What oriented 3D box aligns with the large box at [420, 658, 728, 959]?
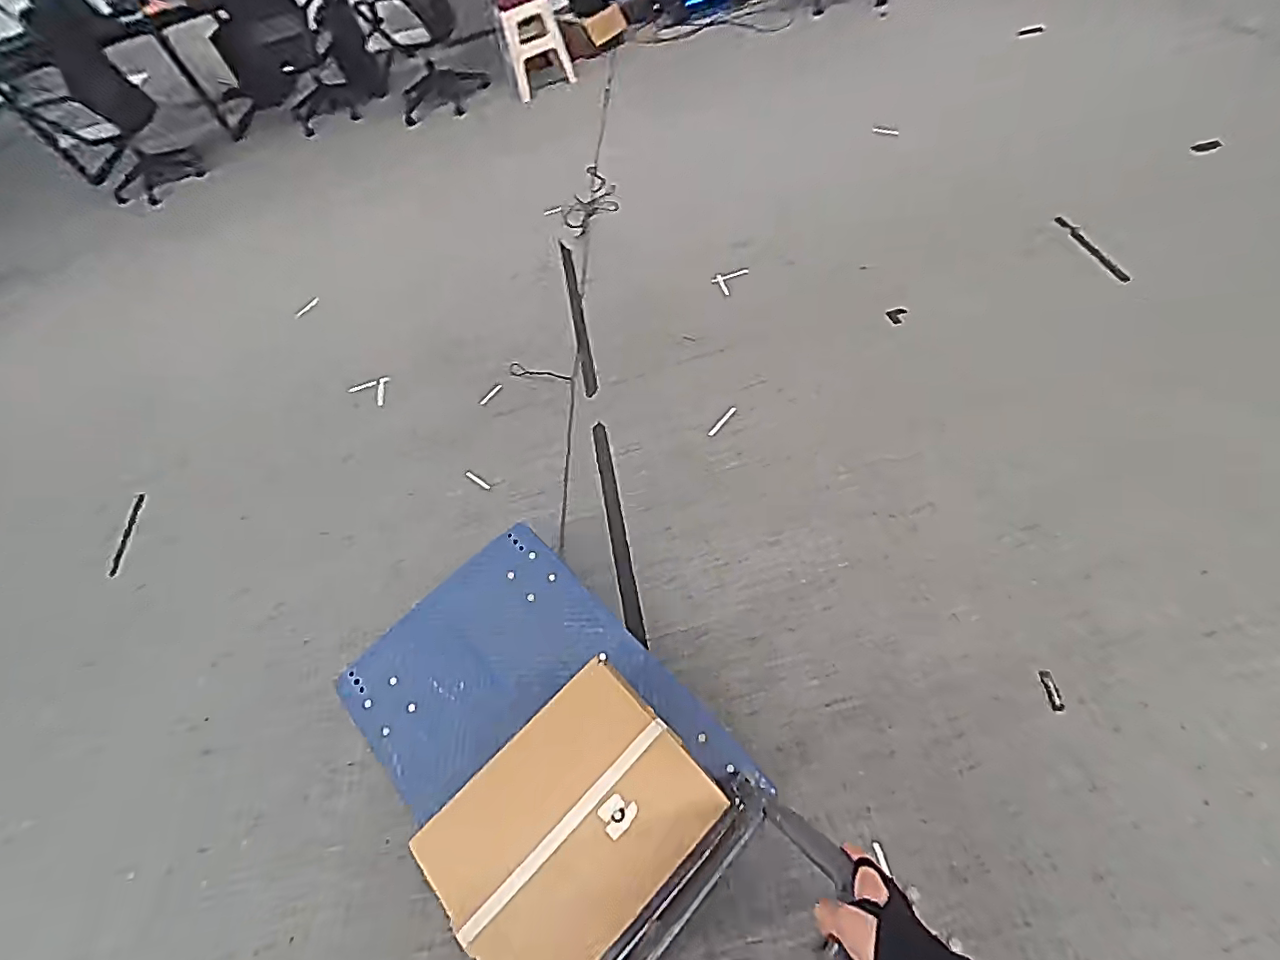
[{"bbox_3d":[-0.092,0.603,0.973,0.408,0.320,0.320,-43,67,-16],"label":"large box"}]
